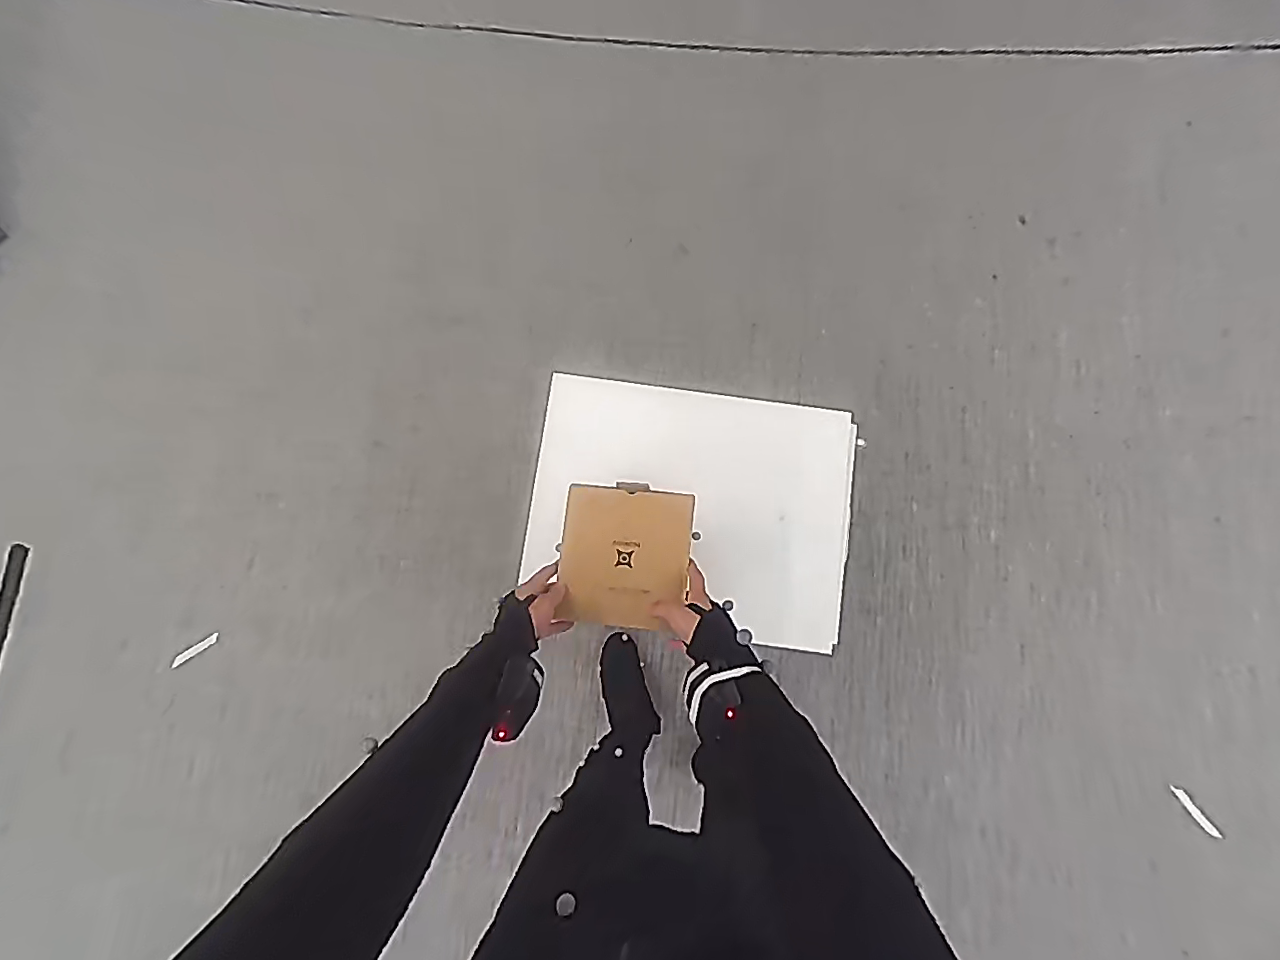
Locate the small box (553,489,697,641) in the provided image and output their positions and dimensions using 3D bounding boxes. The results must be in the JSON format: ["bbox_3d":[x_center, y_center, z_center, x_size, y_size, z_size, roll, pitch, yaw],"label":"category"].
[{"bbox_3d":[-0.015,0.123,0.756,0.168,0.176,0.179,6,76,4],"label":"small box"}]
